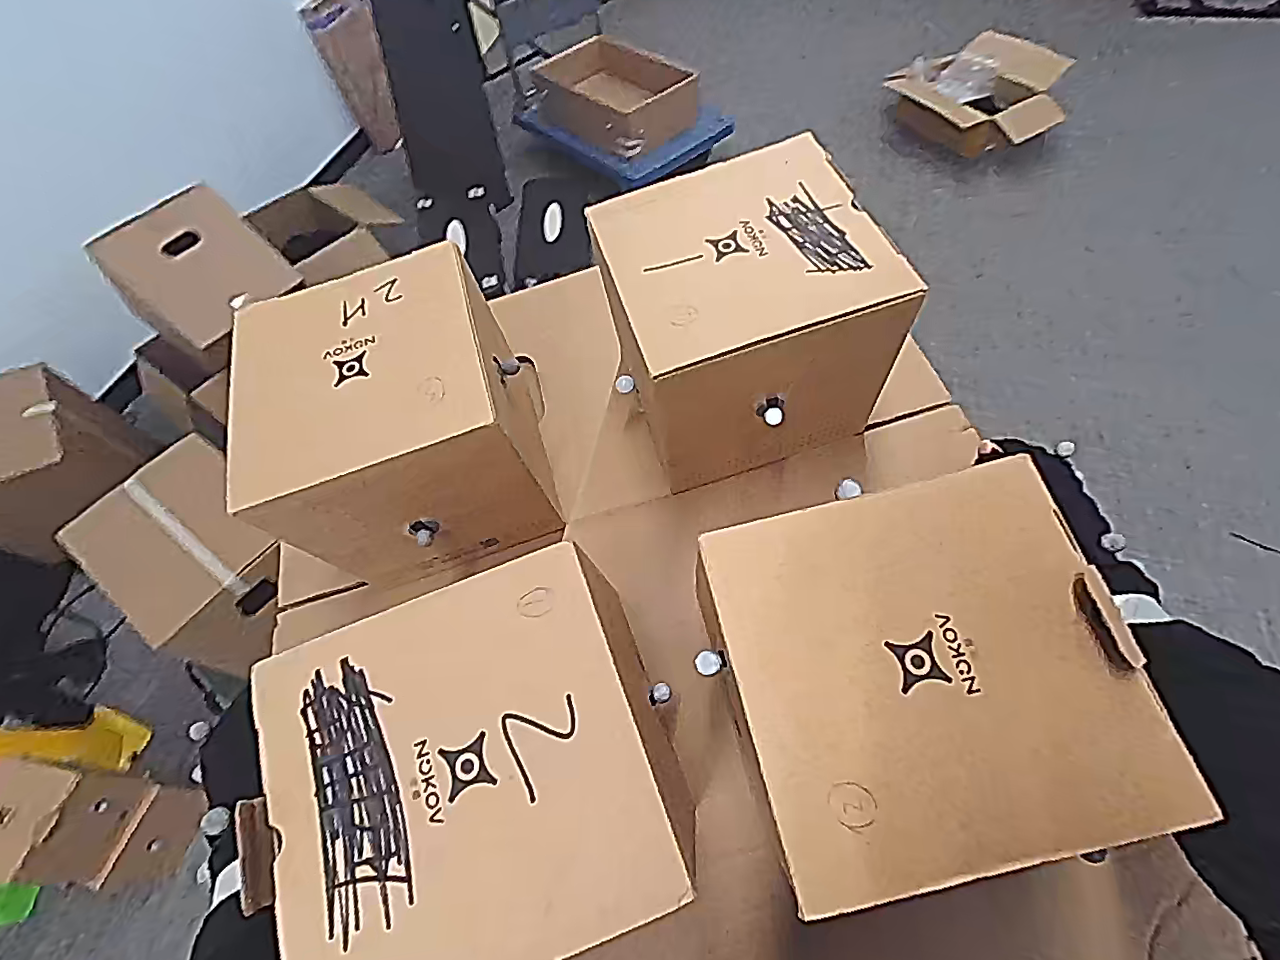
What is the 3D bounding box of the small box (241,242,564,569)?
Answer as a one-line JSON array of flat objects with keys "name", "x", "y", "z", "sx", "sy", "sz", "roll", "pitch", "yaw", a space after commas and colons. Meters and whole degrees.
[{"name": "small box", "x": -0.170, "y": -0.043, "z": 0.428, "sx": 0.168, "sy": 0.176, "sz": 0.179, "roll": -18, "pitch": 62, "yaw": -1}]
